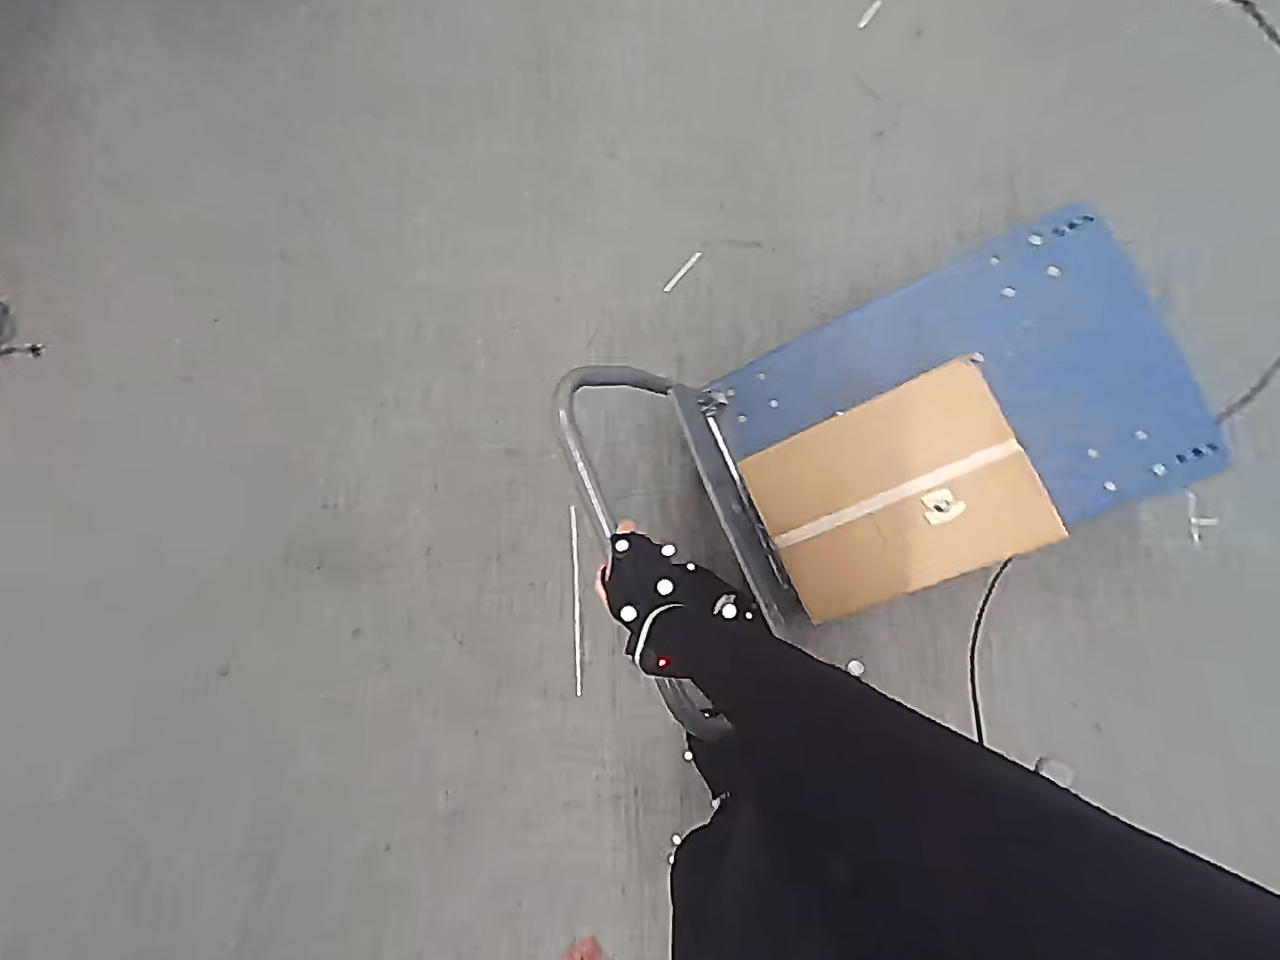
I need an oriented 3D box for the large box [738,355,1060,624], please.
[{"bbox_3d":[0.450,0.025,1.029,0.408,0.320,0.320,-27,83,17],"label":"large box"}]
